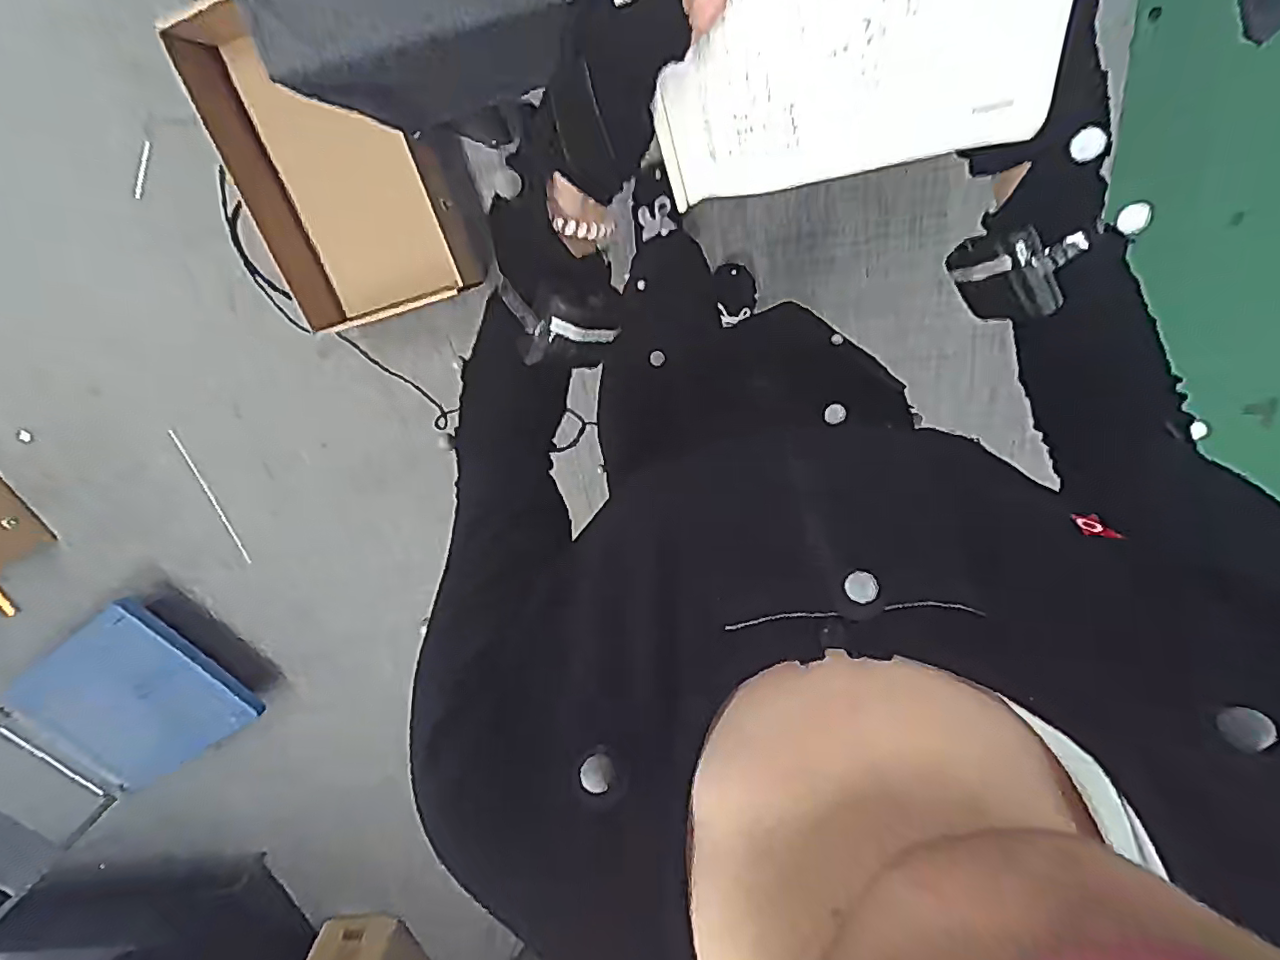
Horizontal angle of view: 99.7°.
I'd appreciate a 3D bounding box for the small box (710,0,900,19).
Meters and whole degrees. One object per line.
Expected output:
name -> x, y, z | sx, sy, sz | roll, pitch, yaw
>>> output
small box -> 0.114, -0.383, 0.285 | 0.168, 0.176, 0.179 | -1, 119, 7
